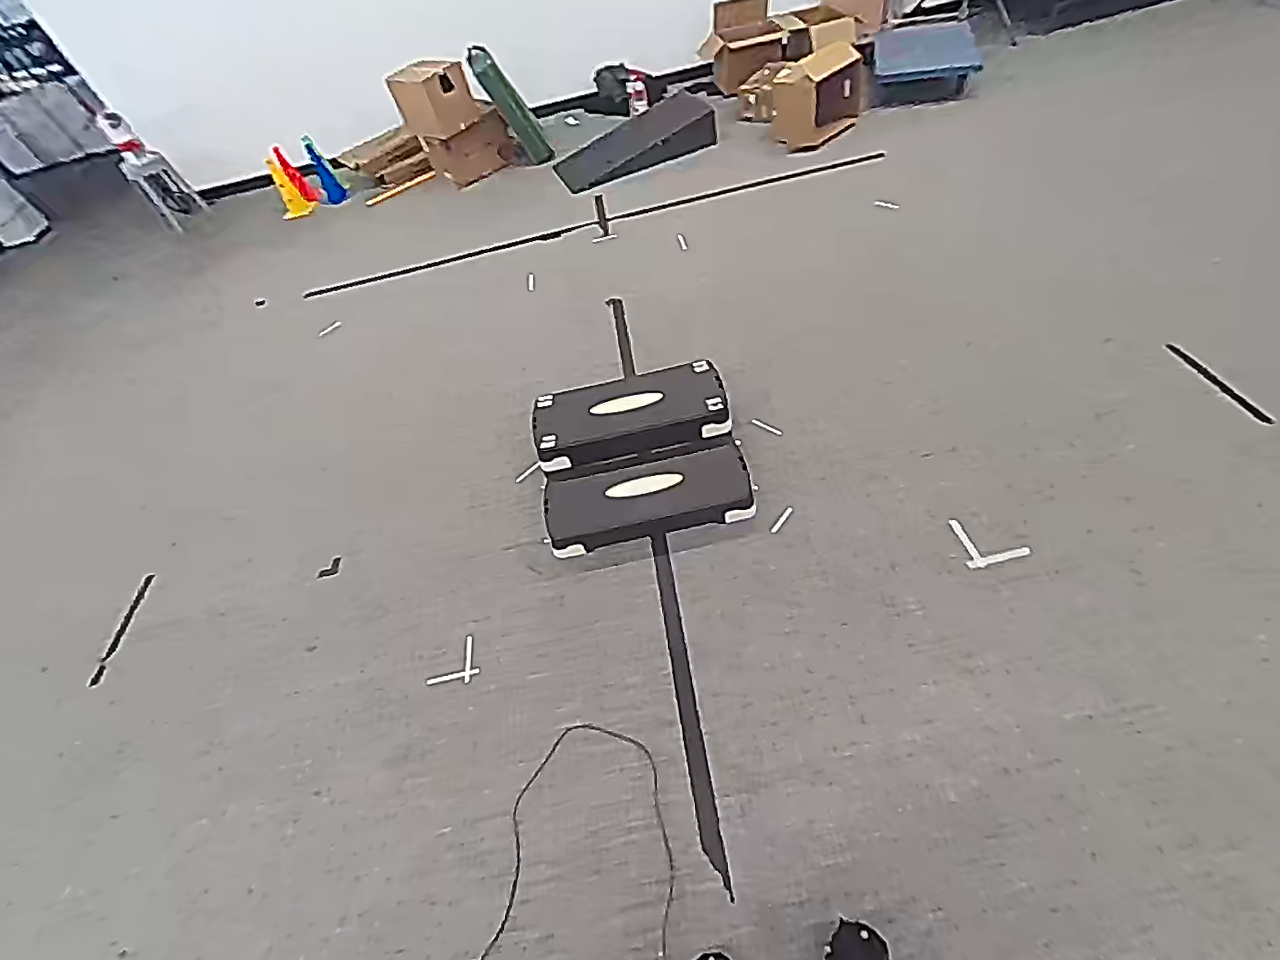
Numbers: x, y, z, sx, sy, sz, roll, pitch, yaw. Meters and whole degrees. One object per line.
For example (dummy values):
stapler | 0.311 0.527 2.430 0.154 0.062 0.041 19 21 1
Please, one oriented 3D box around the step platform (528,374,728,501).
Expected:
step platform | -0.045 -0.155 1.897 0.684 0.204 0.286 -13 51 1
